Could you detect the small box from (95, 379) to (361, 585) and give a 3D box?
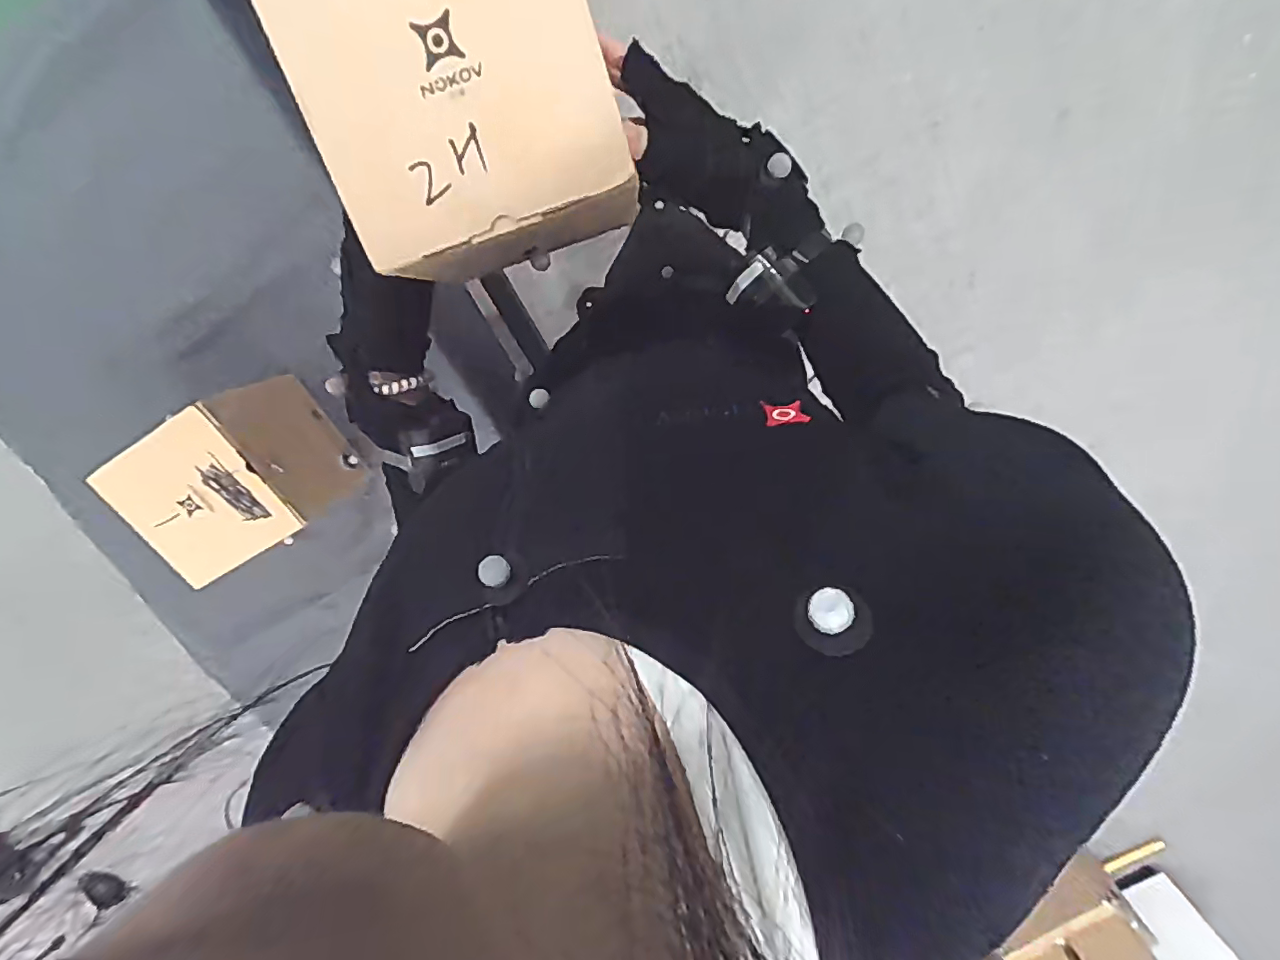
[{"bbox_3d":[-0.487,-0.007,0.677,0.179,0.176,0.168,-28,108,13],"label":"small box"}]

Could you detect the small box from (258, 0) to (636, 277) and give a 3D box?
[{"bbox_3d":[-0.107,-0.249,0.362,0.168,0.176,0.179,-17,108,4],"label":"small box"}]
